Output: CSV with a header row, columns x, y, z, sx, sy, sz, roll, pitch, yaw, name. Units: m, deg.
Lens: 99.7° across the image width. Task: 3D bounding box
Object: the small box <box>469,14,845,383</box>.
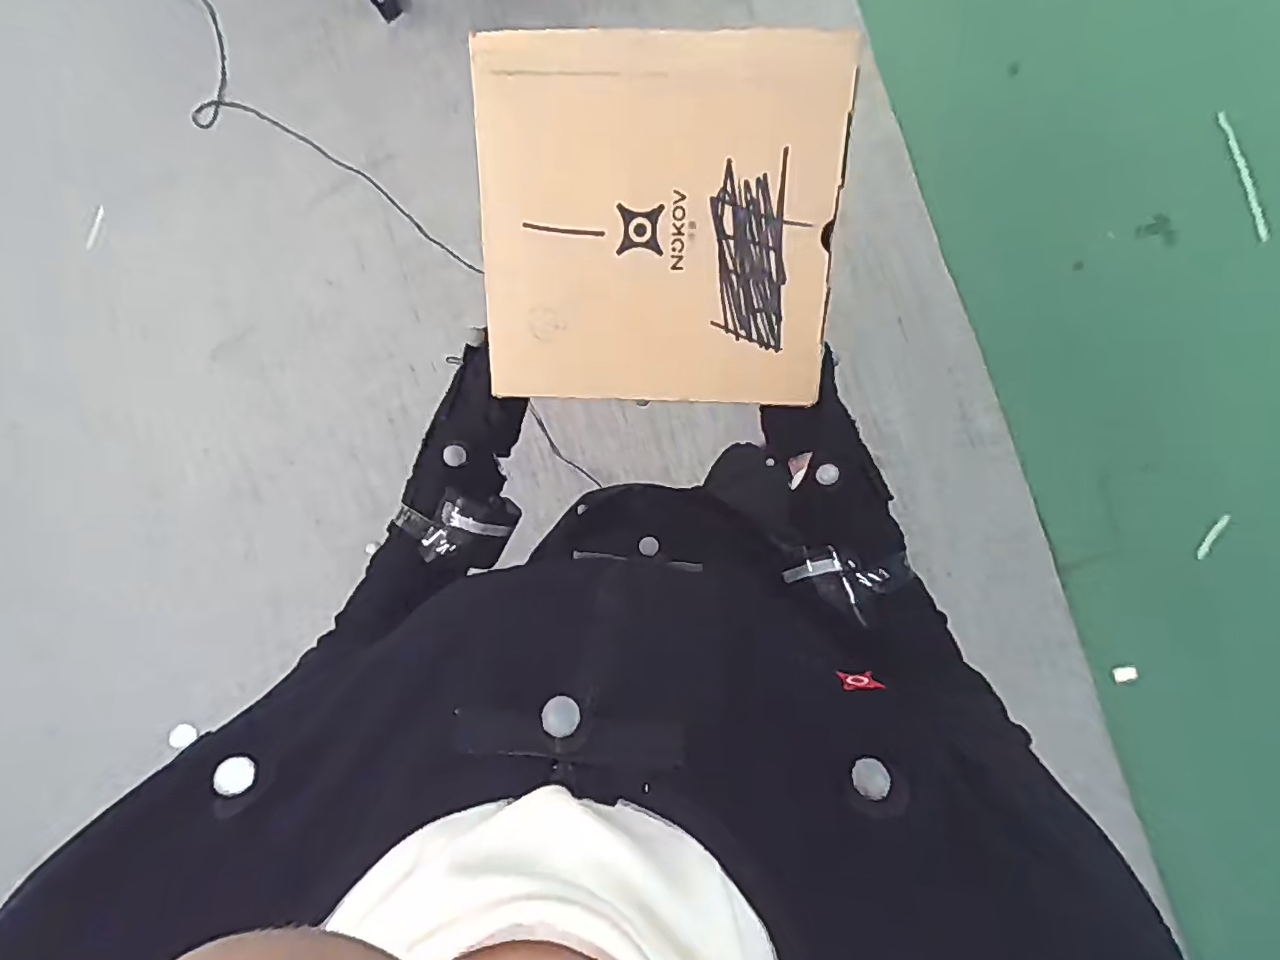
x,y,z,sx,sy,sz,roll,pitch,yaw,name
0.009,-0.159,0.347,0.179,0.176,0.168,2,108,3,small box
